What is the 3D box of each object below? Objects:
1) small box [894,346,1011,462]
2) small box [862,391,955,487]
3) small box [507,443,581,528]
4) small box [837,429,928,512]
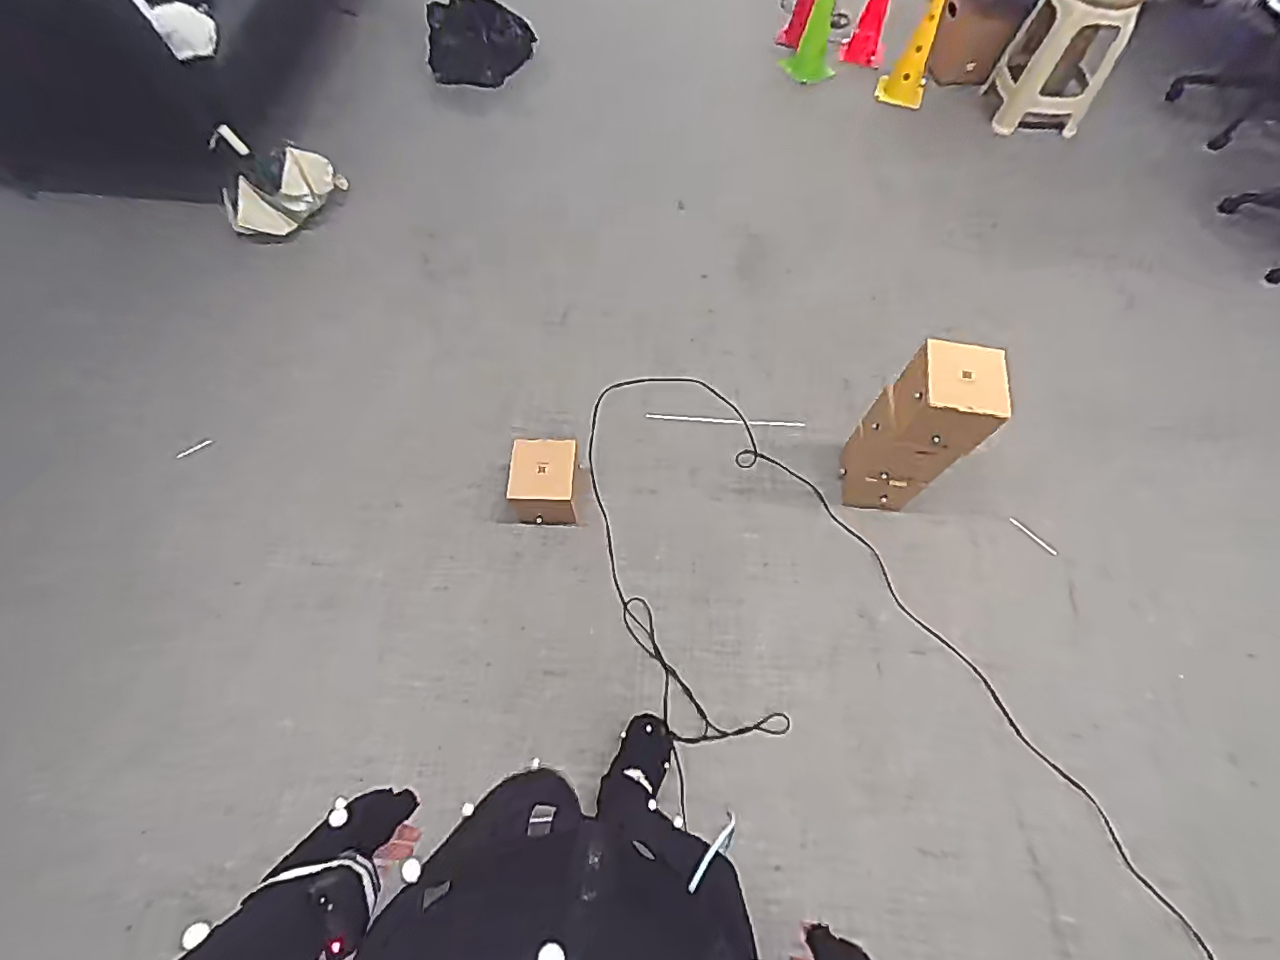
[{"bbox_3d":[0.679,-0.163,1.197,0.168,0.176,0.179,10,66,4],"label":"small box"},{"bbox_3d":[0.669,-0.096,1.344,0.168,0.176,0.179,6,64,2],"label":"small box"},{"bbox_3d":[-0.252,0.017,1.464,0.168,0.176,0.179,2,65,1],"label":"small box"},{"bbox_3d":[0.662,-0.020,1.493,0.168,0.176,0.179,4,66,-2],"label":"small box"}]
